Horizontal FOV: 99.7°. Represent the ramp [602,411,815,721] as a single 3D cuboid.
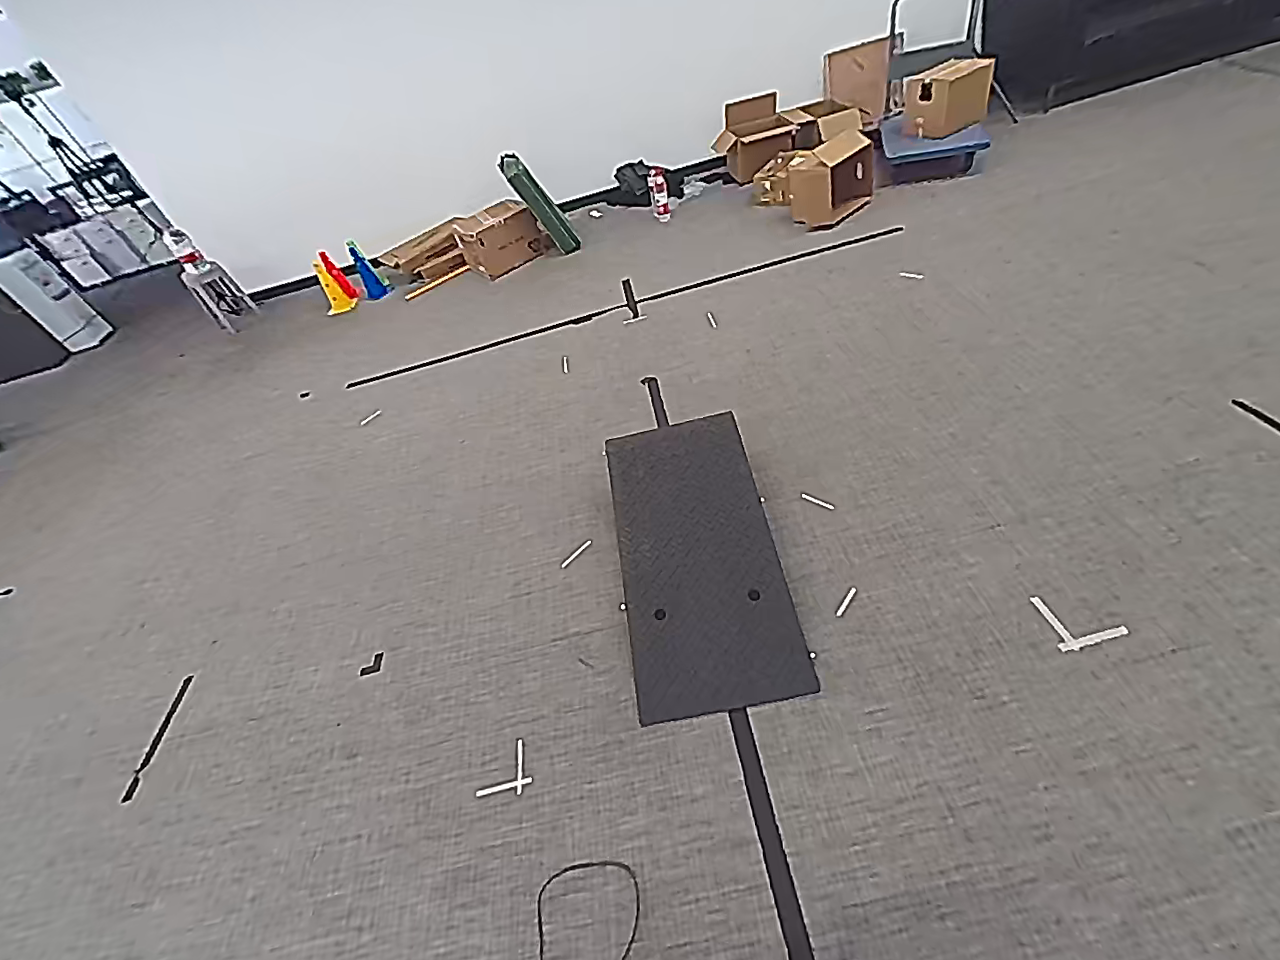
[{"bbox_3d":[0.166,0.202,1.732,0.509,0.206,0.991,-14,45,3],"label":"ramp"}]
